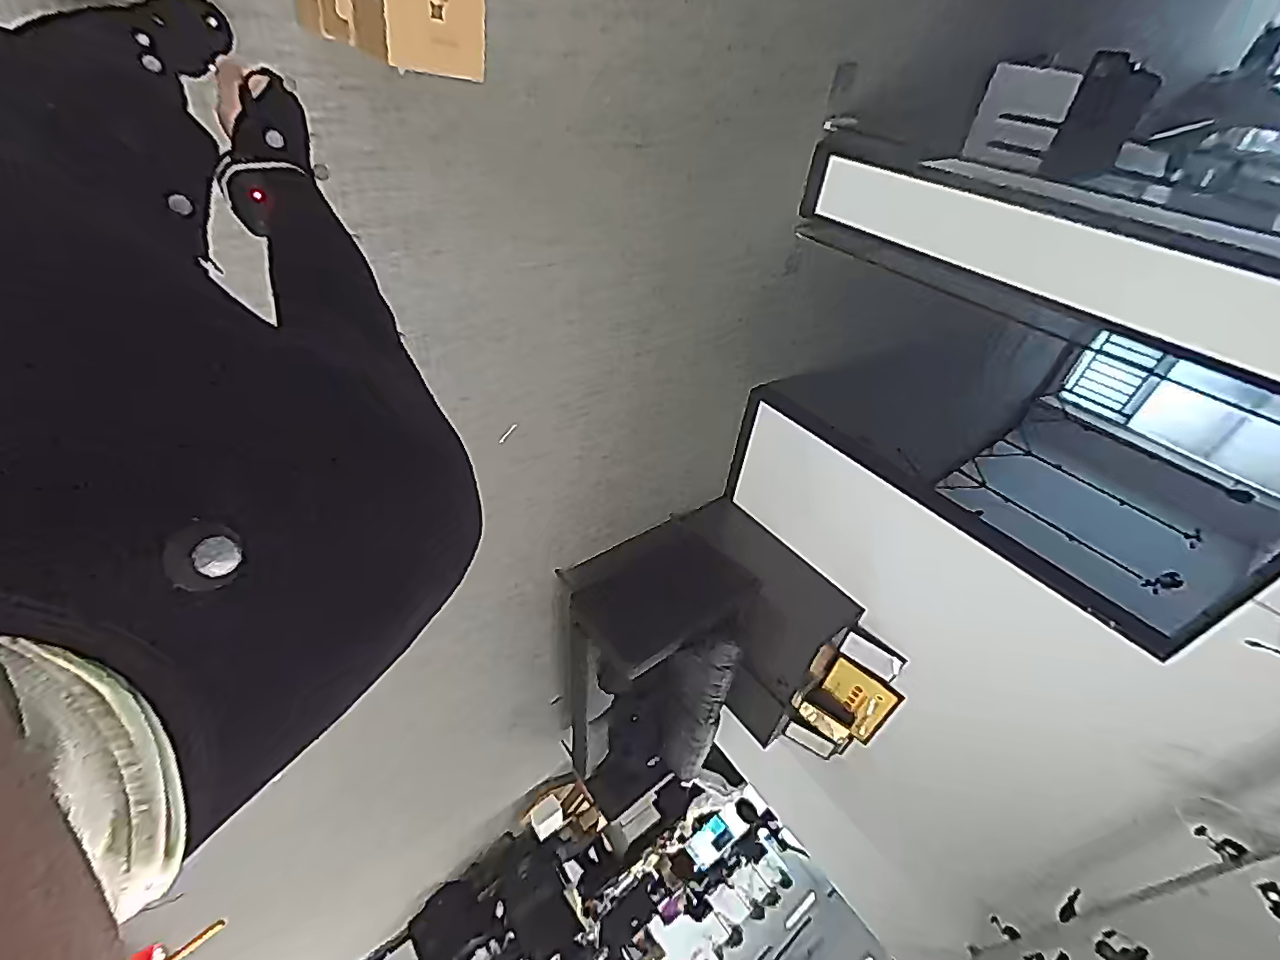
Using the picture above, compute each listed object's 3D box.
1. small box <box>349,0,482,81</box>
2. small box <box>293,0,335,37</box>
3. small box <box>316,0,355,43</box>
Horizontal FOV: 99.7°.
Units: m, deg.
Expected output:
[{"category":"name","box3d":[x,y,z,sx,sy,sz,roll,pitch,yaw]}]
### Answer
[{"category":"small box","box3d":[-0.379,-0.800,0.906,0.168,0.176,0.179,-18,136,-36]},{"category":"small box","box3d":[-0.588,-0.986,1.077,0.179,0.176,0.168,-21,138,-33]},{"category":"small box","box3d":[-0.479,-0.897,0.992,0.179,0.176,0.168,-18,136,-37]}]
